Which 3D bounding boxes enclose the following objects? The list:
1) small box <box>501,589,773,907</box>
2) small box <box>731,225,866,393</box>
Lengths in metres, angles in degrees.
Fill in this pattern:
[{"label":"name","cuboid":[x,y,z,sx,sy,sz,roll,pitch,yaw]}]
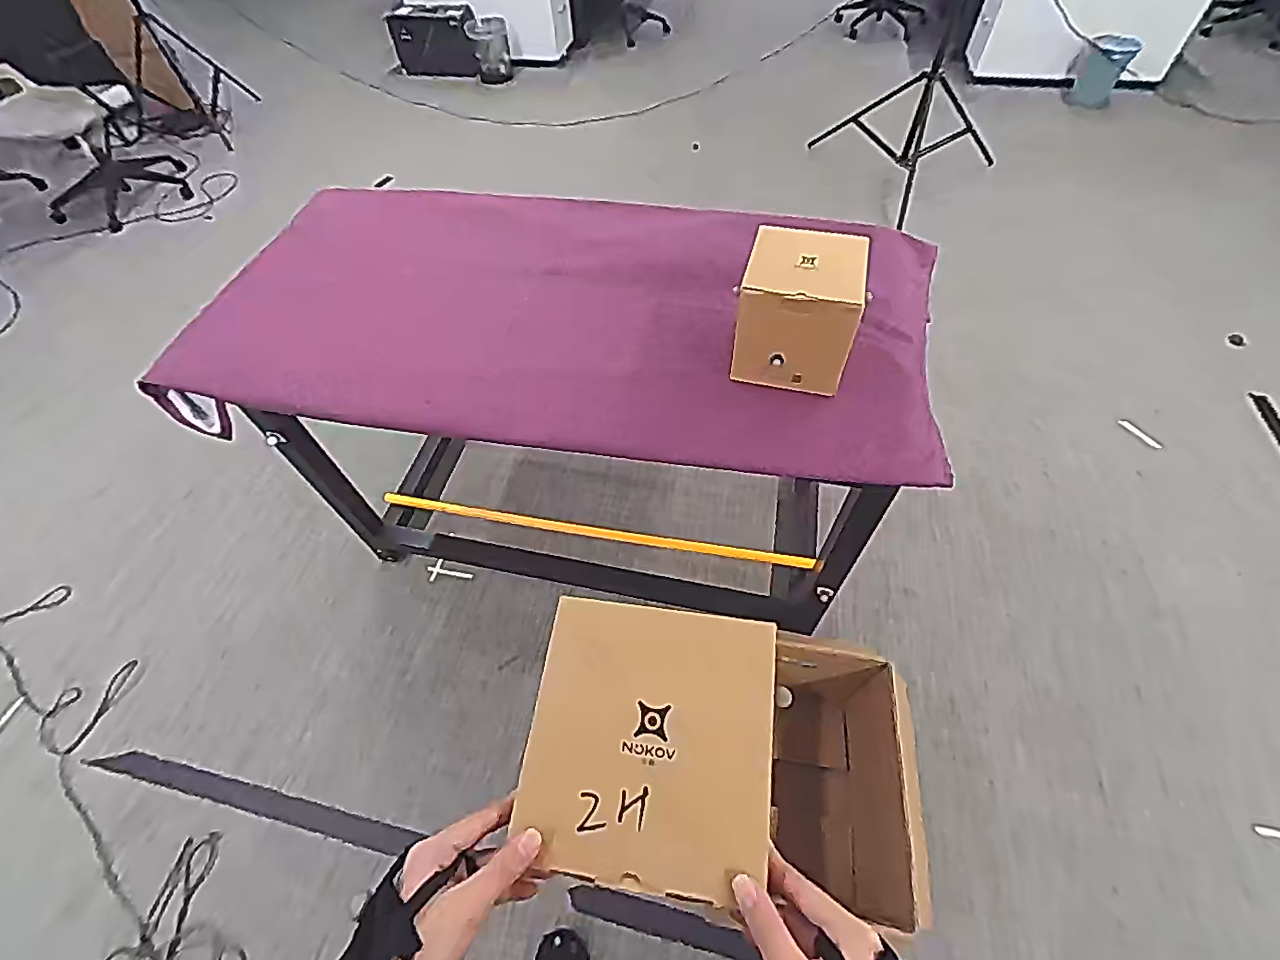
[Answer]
[{"label":"small box","cuboid":[0.010,0.206,0.437,0.168,0.176,0.179,5,62,9]},{"label":"small box","cuboid":[0.239,-0.263,0.838,0.168,0.176,0.179,11,55,11]}]
